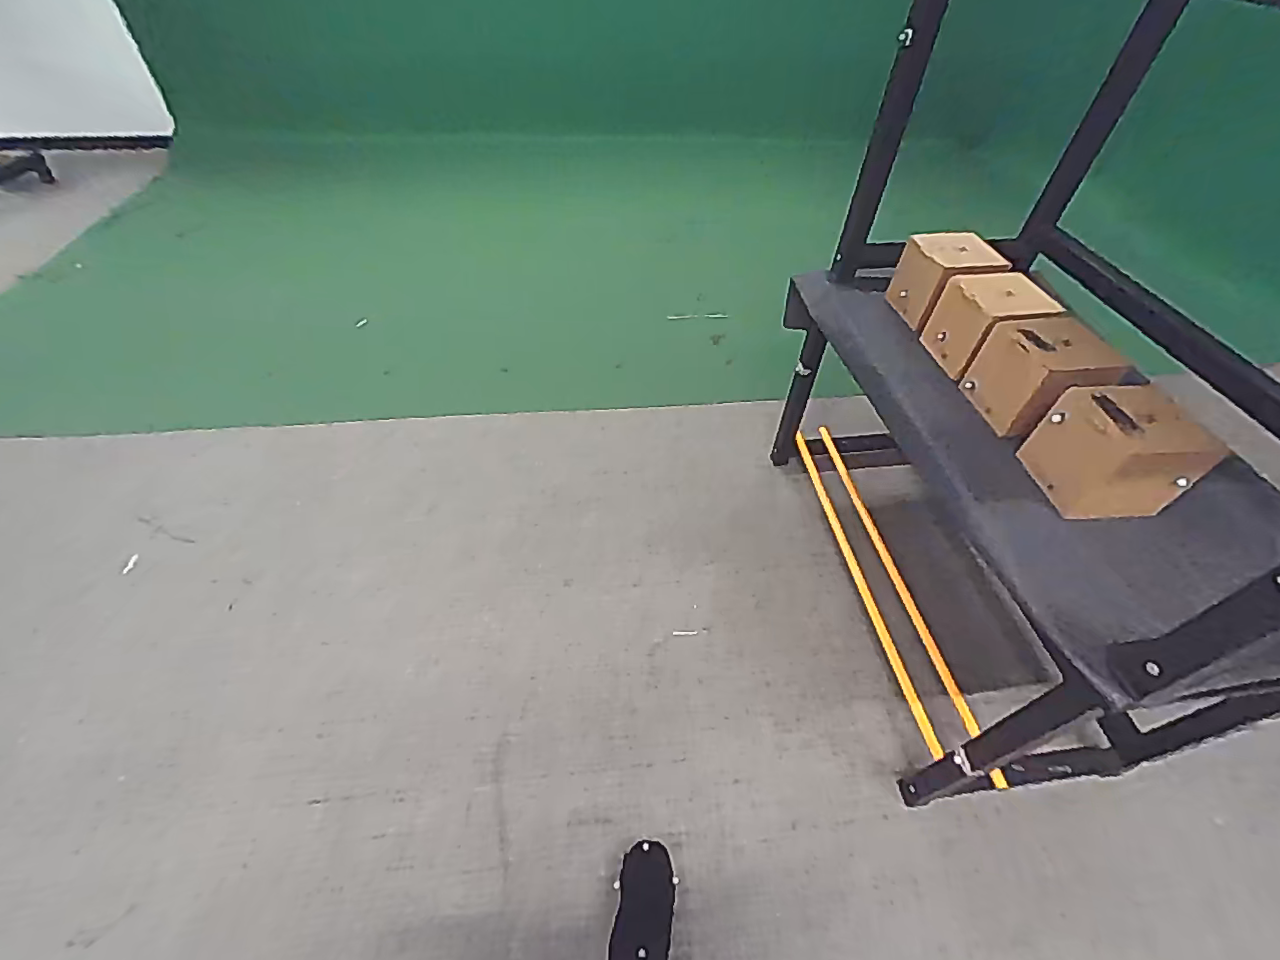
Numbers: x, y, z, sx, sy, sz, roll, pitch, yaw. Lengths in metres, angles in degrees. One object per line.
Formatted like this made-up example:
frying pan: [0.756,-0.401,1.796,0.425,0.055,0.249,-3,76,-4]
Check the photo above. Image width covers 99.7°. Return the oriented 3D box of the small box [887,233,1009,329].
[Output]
small box: [0.756,-0.494,1.348,0.179,0.176,0.168,-6,49,-7]
